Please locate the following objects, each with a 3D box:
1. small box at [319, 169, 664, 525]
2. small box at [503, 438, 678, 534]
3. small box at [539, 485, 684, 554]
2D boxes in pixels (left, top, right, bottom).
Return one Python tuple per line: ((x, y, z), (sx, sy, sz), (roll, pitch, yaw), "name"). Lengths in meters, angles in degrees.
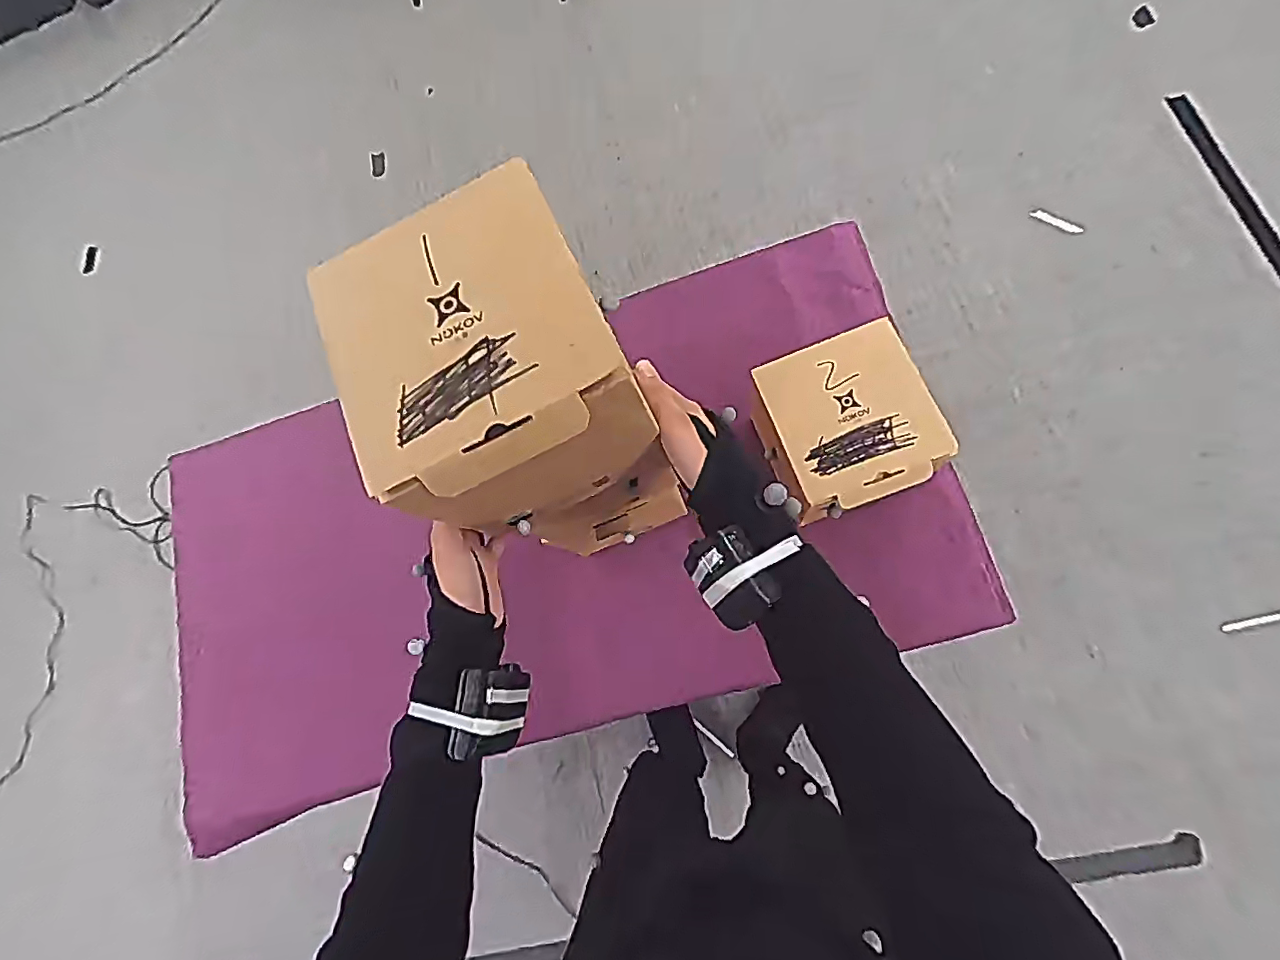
((-0.095, -0.076, 0.409), (0.168, 0.176, 0.179), (-26, 73, 4), "small box")
((-0.071, -0.053, 0.571), (0.168, 0.176, 0.179), (-25, 73, 4), "small box")
((-0.051, -0.013, 0.728), (0.168, 0.176, 0.179), (-22, 74, 6), "small box")
